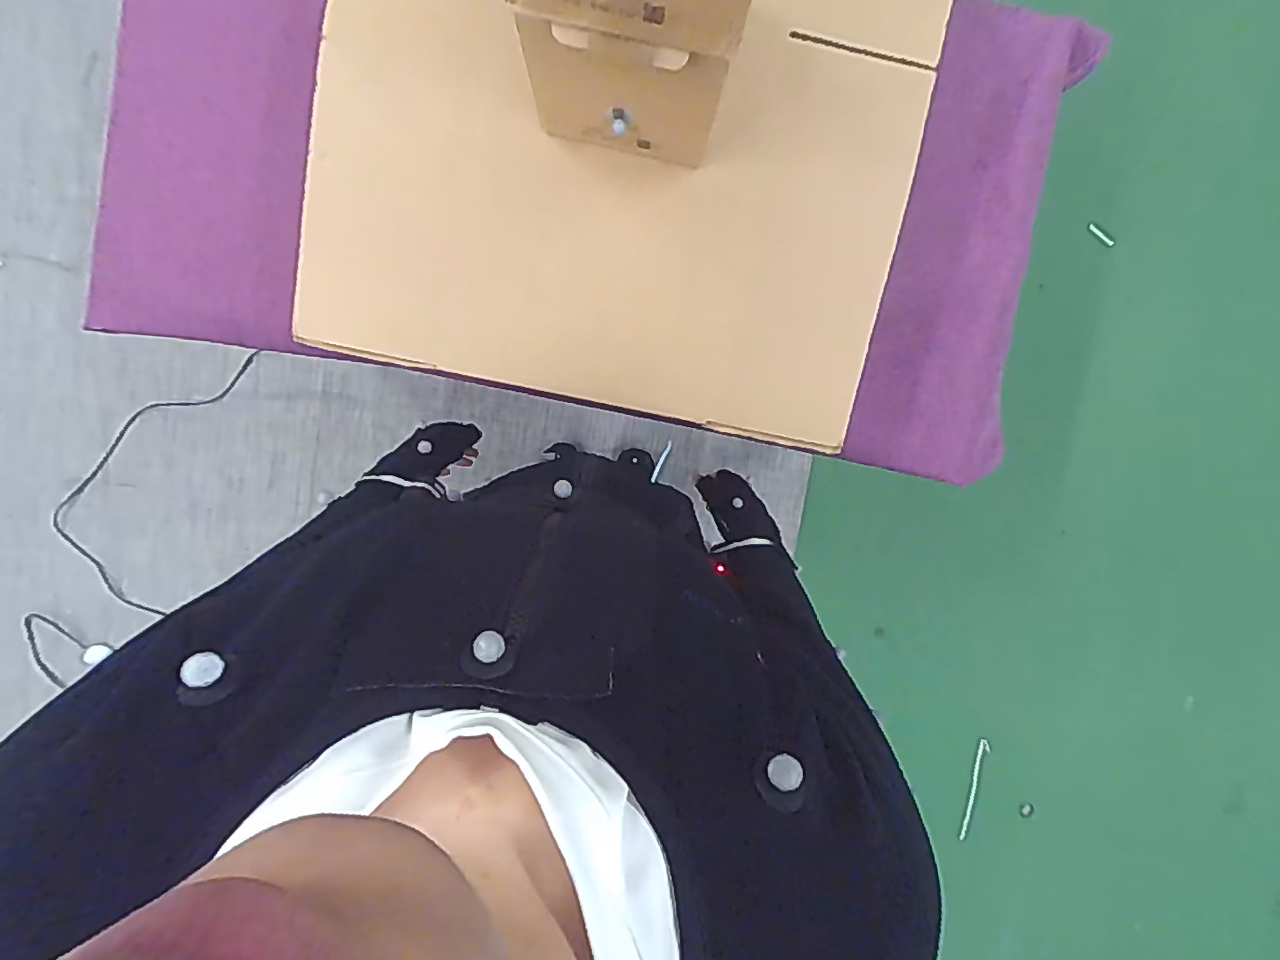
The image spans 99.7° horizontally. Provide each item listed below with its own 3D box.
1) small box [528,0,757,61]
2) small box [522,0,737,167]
[{"bbox_3d":[0.011,-0.395,0.302,0.168,0.176,0.179,10,94,-3],"label":"small box"},{"bbox_3d":[0.006,-0.413,0.464,0.168,0.176,0.179,12,93,-2],"label":"small box"}]
